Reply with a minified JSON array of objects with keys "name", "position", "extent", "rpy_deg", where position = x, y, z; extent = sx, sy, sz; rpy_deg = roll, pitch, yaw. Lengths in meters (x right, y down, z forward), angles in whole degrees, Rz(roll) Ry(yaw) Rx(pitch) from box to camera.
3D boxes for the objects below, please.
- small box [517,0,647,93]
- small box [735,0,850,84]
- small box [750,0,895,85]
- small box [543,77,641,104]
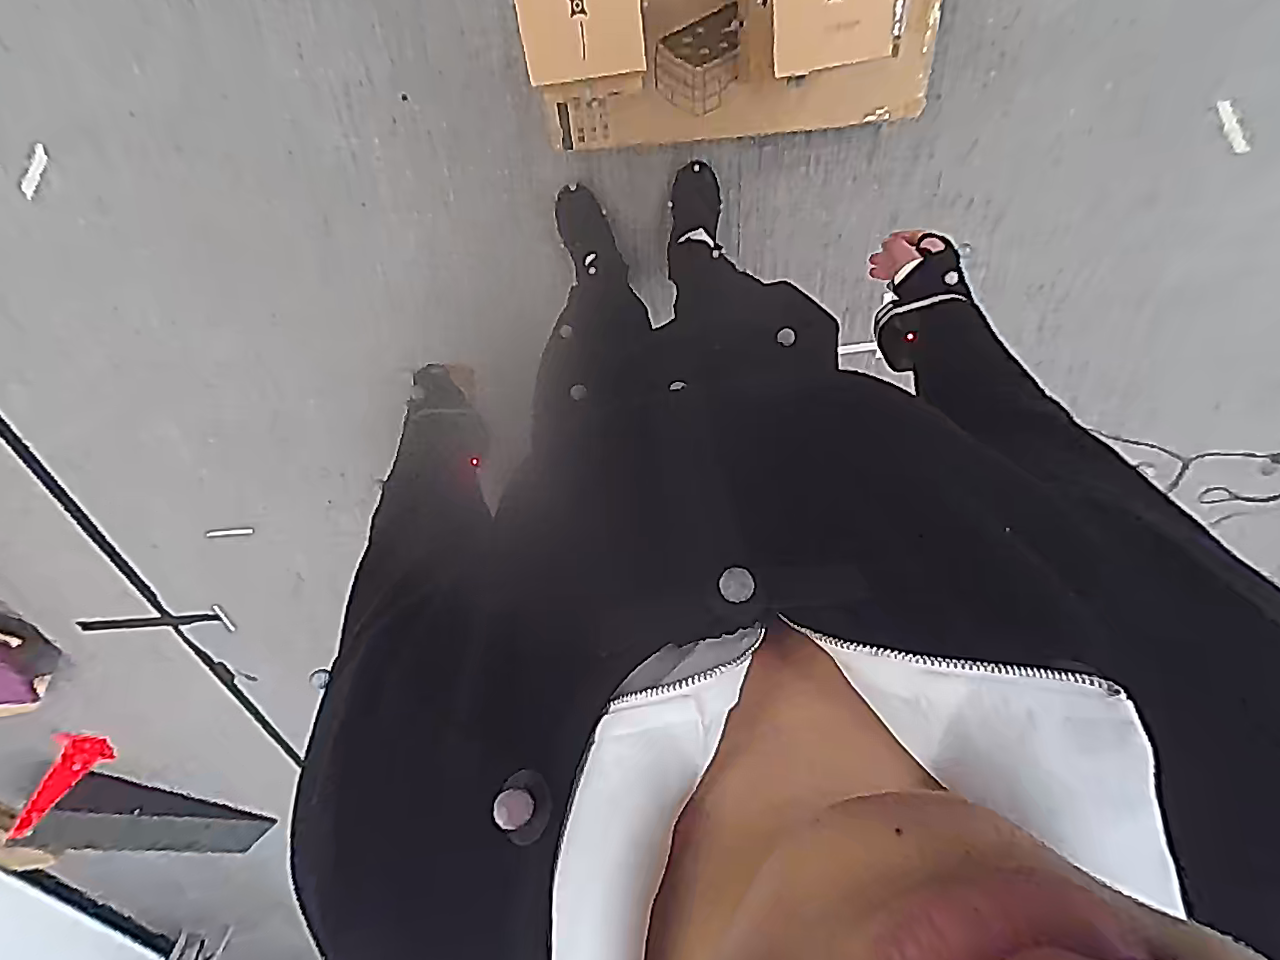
[{"name":"small box","position":[-0.085,-0.673,0.774],"extent":[0.168,0.176,0.179],"rpy_deg":[-7,125,2]},{"name":"small box","position":[0.258,-0.788,0.913],"extent":[0.168,0.176,0.179],"rpy_deg":[-7,126,1]},{"name":"small box","position":[0.255,-0.694,0.781],"extent":[0.168,0.176,0.179],"rpy_deg":[-9,125,5]},{"name":"small box","position":[-0.089,-0.753,0.918],"extent":[0.168,0.176,0.179],"rpy_deg":[-6,125,1]}]
